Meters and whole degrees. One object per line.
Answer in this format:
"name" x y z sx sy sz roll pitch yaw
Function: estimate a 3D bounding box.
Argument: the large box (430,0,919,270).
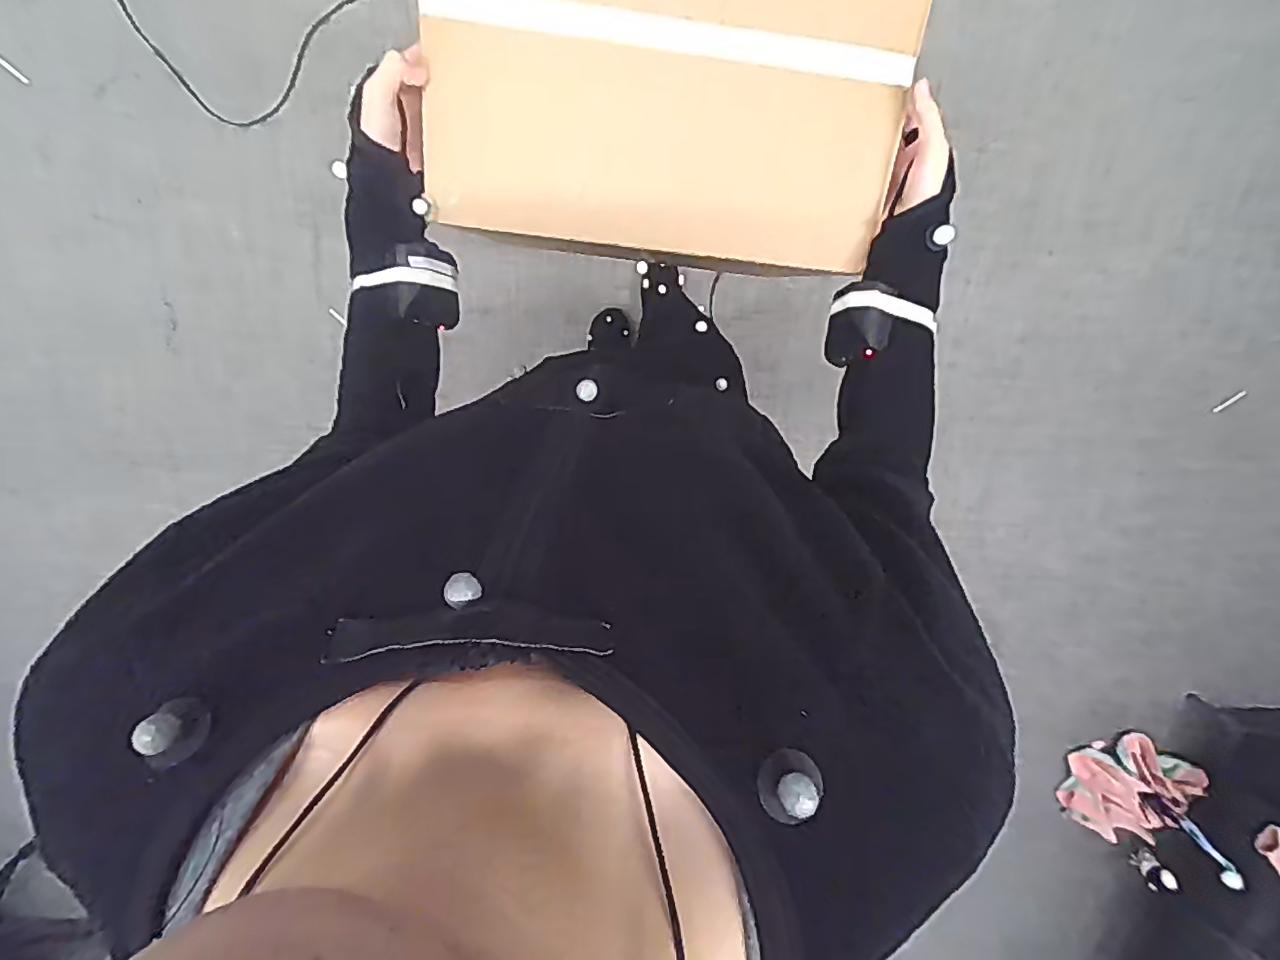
"large box" 0.022 -0.412 0.589 0.408 0.320 0.320 5 109 -5
